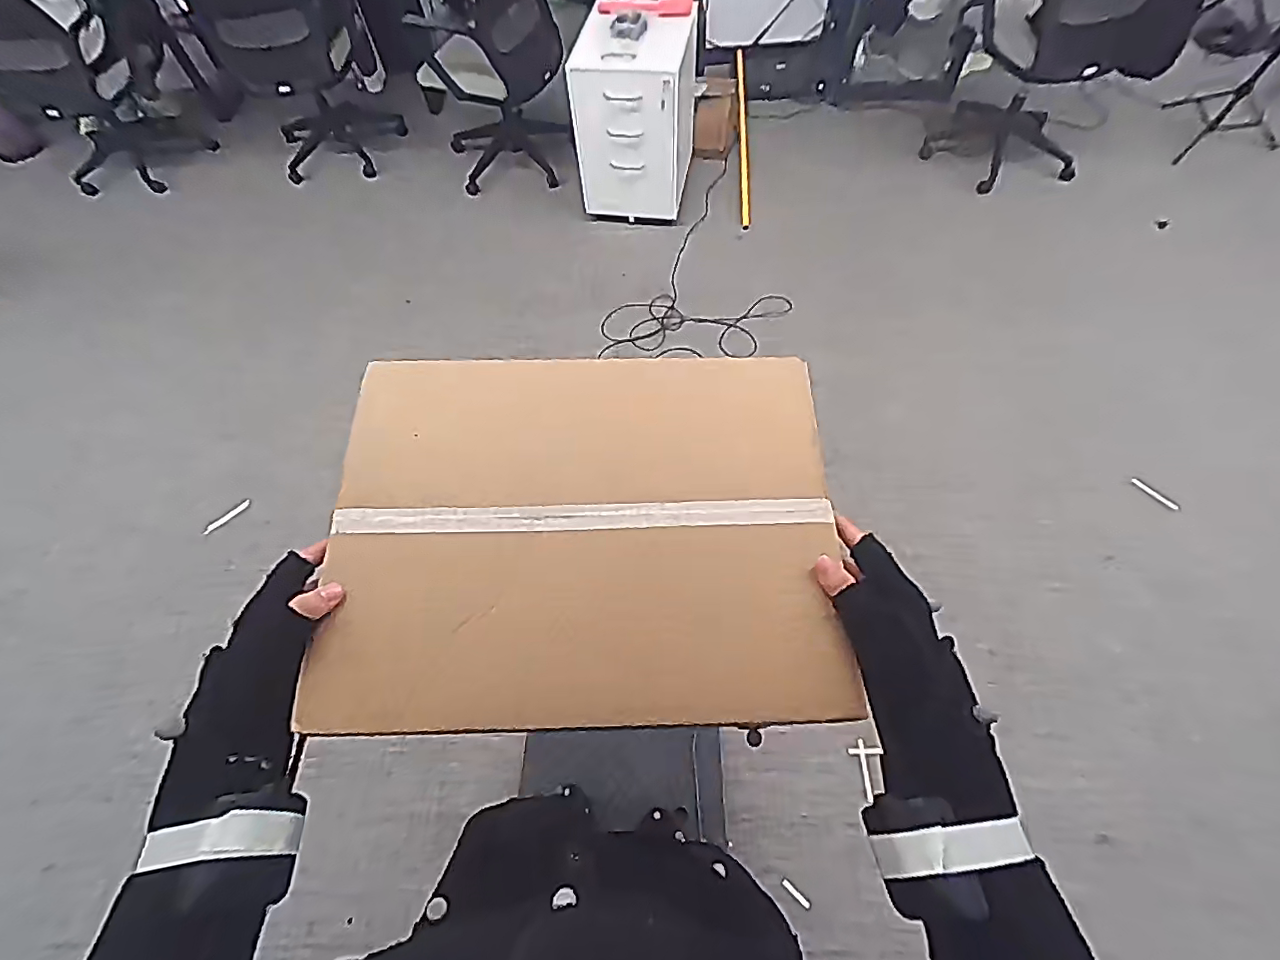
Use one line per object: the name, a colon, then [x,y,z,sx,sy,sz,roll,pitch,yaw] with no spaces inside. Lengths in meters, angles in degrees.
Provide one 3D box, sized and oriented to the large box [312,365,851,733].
large box: [-0.046,0.092,0.589,0.408,0.320,0.320,-1,66,-2]
